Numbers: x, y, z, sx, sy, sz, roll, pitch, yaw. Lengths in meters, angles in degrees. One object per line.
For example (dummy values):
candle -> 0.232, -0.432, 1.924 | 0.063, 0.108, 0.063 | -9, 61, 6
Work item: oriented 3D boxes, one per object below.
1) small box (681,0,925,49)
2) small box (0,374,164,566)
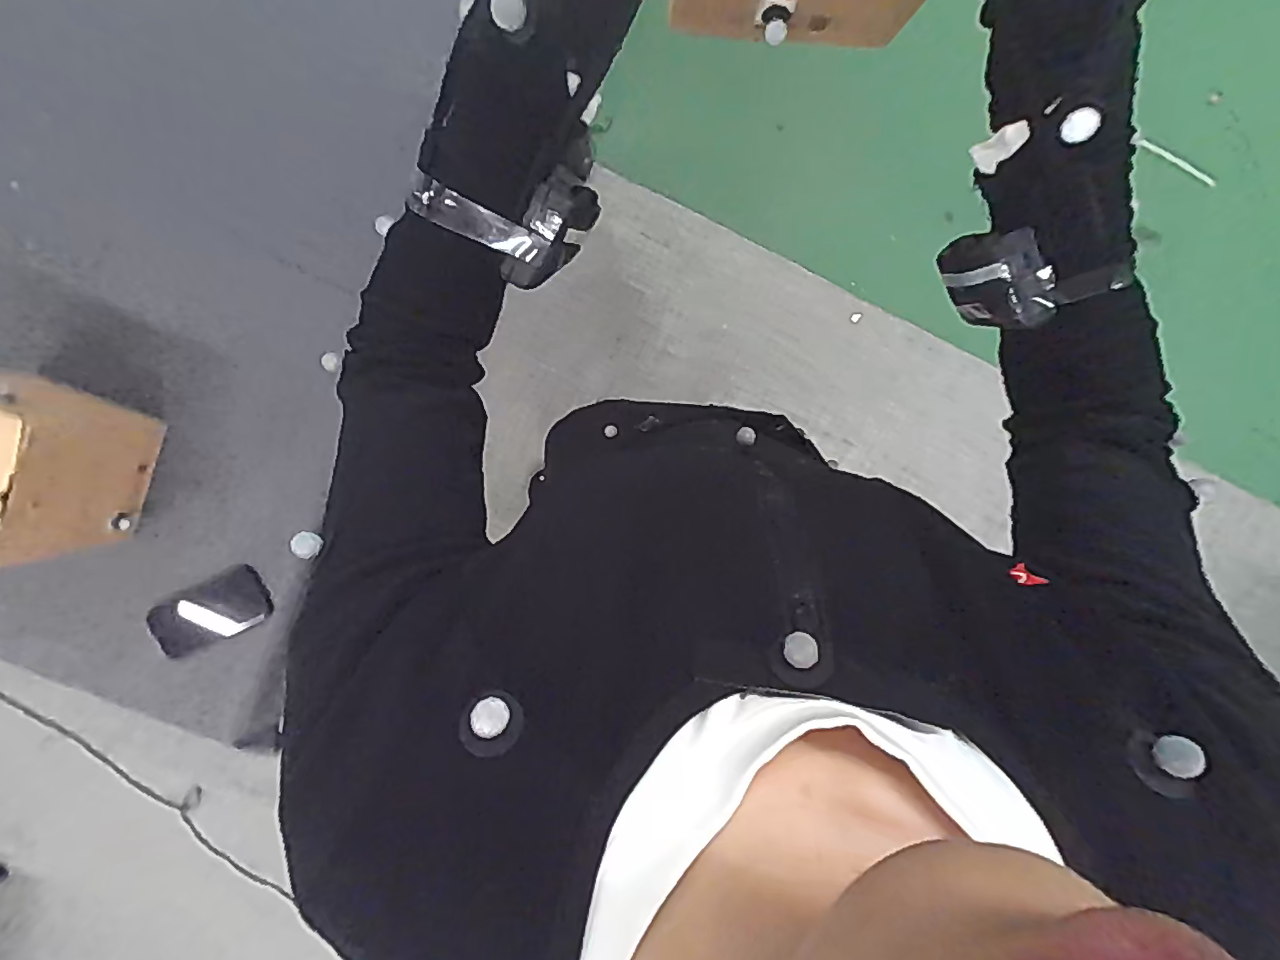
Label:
small box -> 0.114, -0.394, 0.304 | 0.168, 0.176, 0.179 | 2, 103, -3
small box -> -0.714, -0.023, 0.623 | 0.179, 0.176, 0.168 | 20, 95, -2
